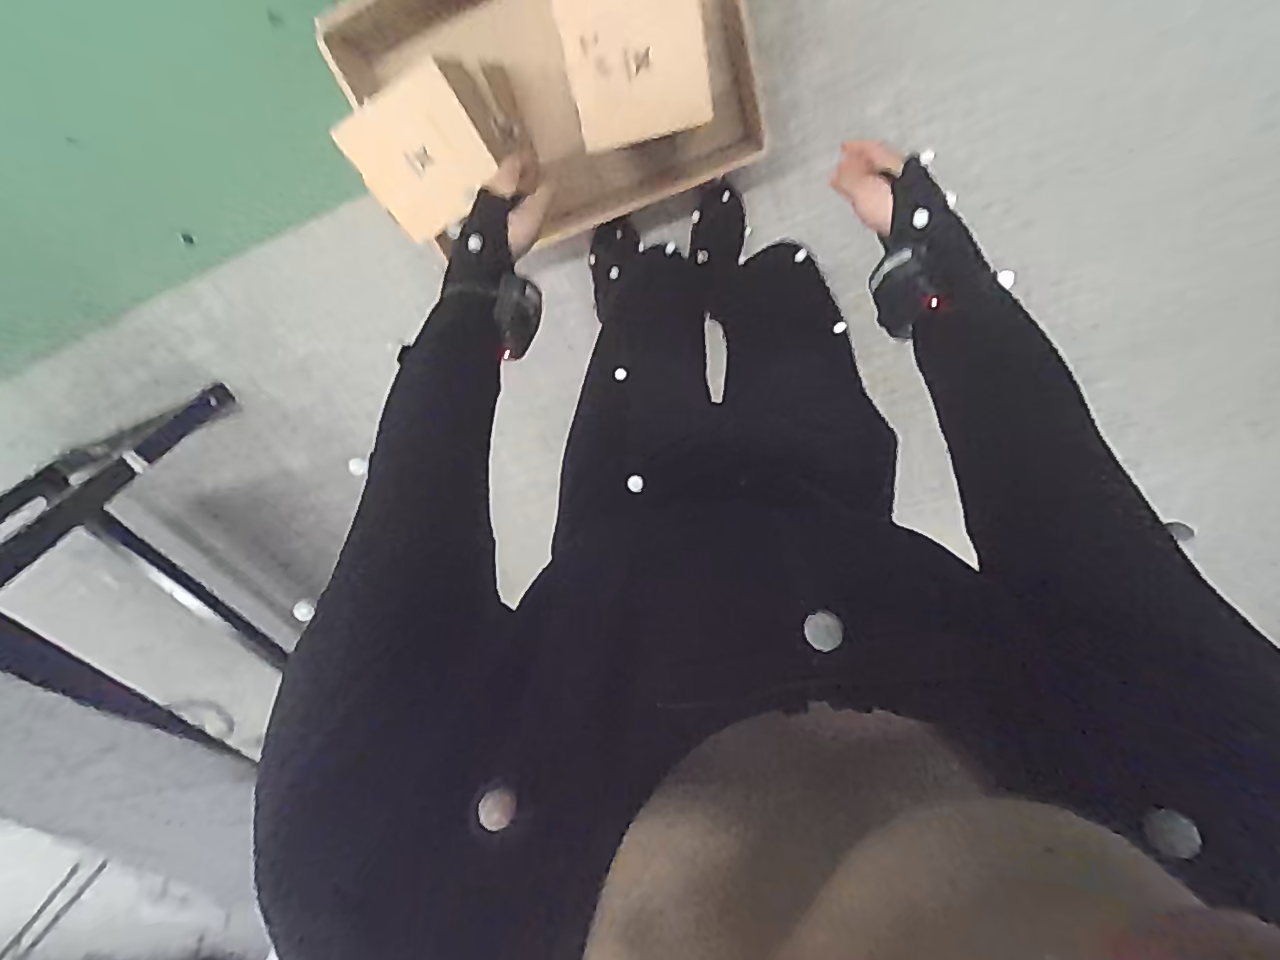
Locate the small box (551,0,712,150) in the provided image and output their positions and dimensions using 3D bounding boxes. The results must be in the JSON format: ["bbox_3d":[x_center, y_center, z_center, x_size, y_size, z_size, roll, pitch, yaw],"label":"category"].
[{"bbox_3d":[-0.007,-0.571,0.734,0.179,0.176,0.168,-10,127,7],"label":"small box"}]

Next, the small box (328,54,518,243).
[{"bbox_3d":[-0.301,-0.483,0.793,0.179,0.176,0.168,-24,125,14],"label":"small box"}]
